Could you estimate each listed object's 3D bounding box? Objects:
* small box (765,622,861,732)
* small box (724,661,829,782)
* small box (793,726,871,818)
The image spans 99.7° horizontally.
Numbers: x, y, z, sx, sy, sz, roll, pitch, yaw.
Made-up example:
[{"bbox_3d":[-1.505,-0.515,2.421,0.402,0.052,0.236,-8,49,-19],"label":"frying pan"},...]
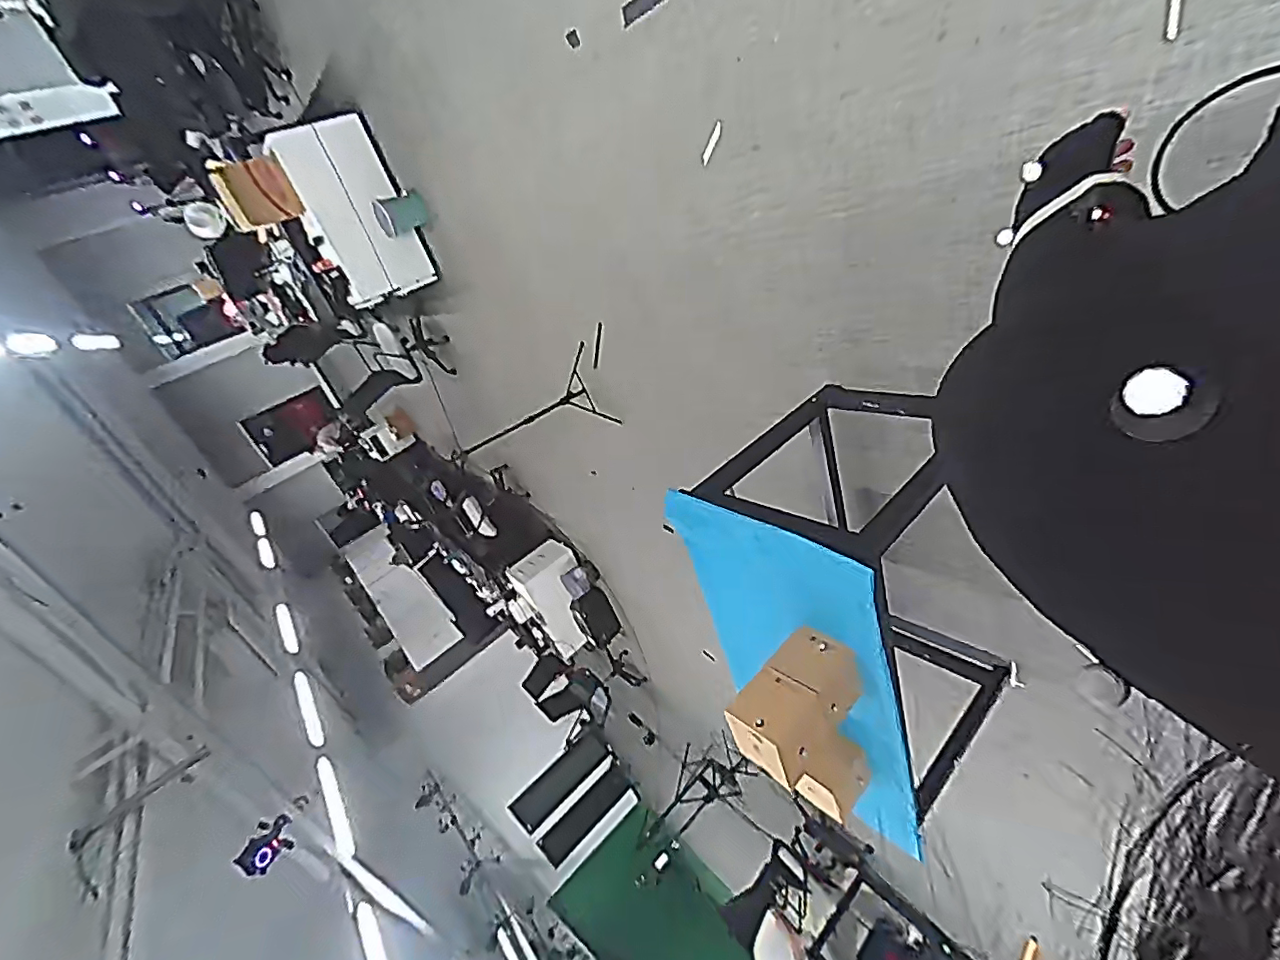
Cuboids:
[{"bbox_3d":[0.462,0.514,1.428,0.168,0.176,0.179,18,136,50],"label":"small box"},{"bbox_3d":[0.345,0.594,1.348,0.168,0.176,0.179,14,132,54],"label":"small box"},{"bbox_3d":[0.583,0.879,1.664,0.179,0.176,0.168,19,138,47],"label":"small box"}]
